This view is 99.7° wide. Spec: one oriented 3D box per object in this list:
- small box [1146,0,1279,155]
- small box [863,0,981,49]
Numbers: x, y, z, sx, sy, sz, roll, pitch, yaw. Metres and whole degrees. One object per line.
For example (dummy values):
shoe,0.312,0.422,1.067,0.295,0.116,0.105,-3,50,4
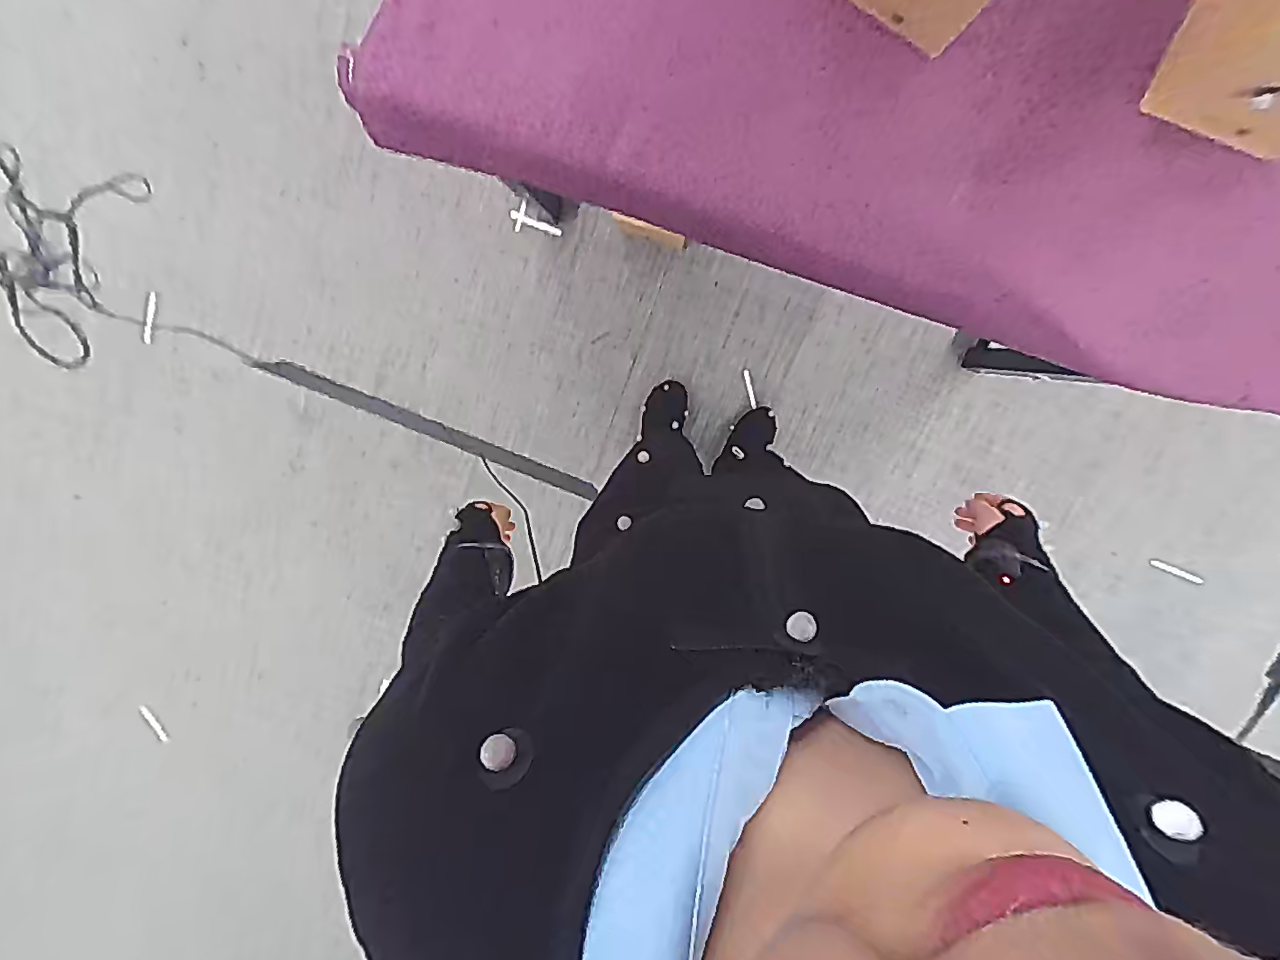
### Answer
small box,0.662,-0.454,0.523,0.168,0.176,0.179,20,103,-1
small box,0.303,-0.571,0.511,0.168,0.176,0.179,31,103,-5
